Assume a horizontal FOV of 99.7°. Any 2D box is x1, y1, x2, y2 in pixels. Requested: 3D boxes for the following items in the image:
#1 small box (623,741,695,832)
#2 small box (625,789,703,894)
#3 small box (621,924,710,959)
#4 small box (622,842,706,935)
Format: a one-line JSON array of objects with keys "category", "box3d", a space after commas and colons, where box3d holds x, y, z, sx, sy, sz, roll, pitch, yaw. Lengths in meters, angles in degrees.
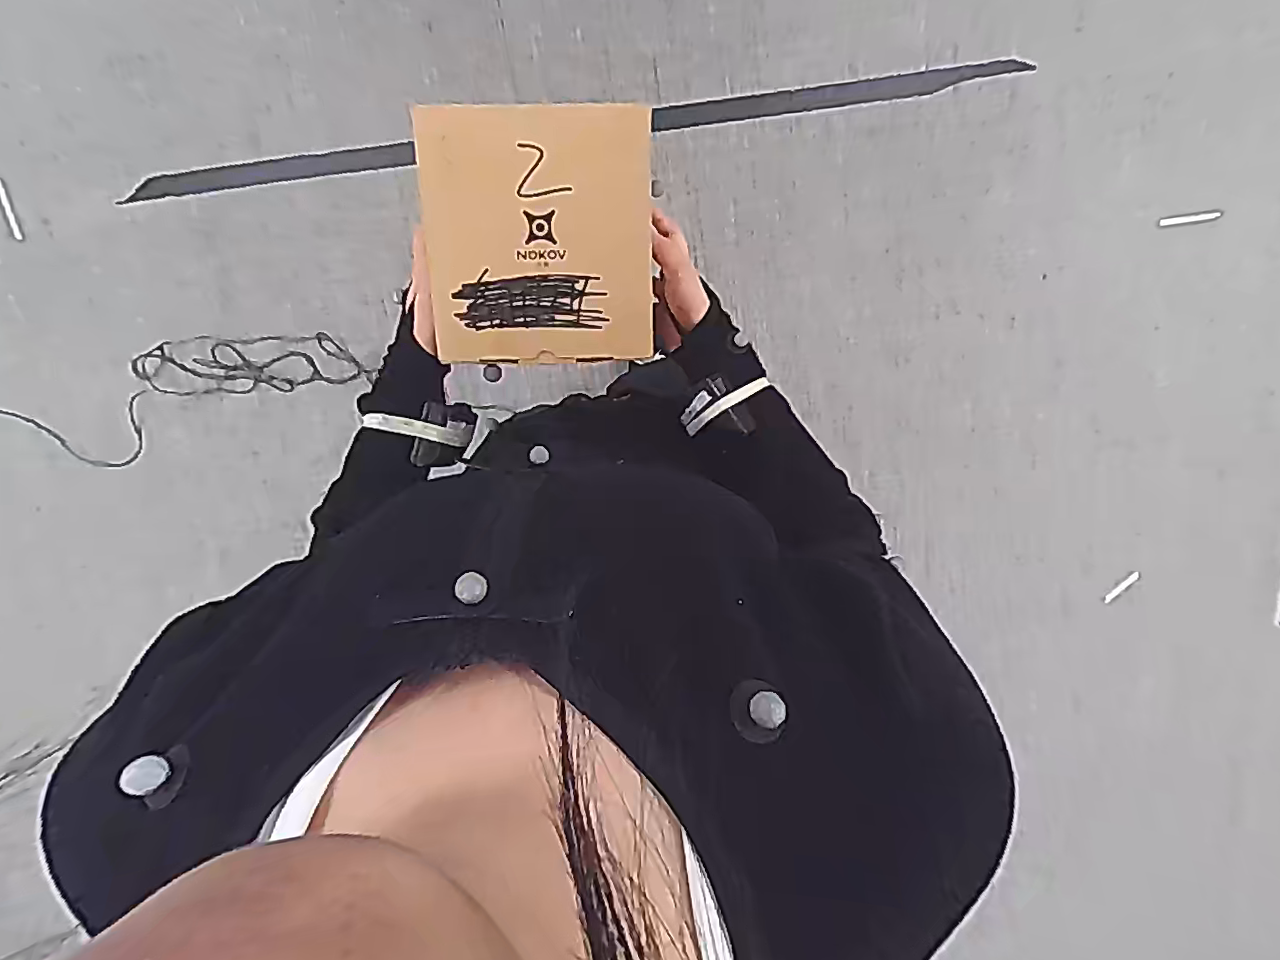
[{"category": "small box", "box3d": [0.046, 0.836, 1.470, 0.179, 0.176, 0.168, 2, 103, -3]}, {"category": "small box", "box3d": [0.053, 0.882, 1.315, 0.179, 0.176, 0.168, -1, 102, -1]}, {"category": "small box", "box3d": [0.053, 0.963, 0.997, 0.168, 0.176, 0.179, -4, 102, -2]}, {"category": "small box", "box3d": [0.046, 0.917, 1.154, 0.168, 0.176, 0.179, -2, 102, -3]}]
